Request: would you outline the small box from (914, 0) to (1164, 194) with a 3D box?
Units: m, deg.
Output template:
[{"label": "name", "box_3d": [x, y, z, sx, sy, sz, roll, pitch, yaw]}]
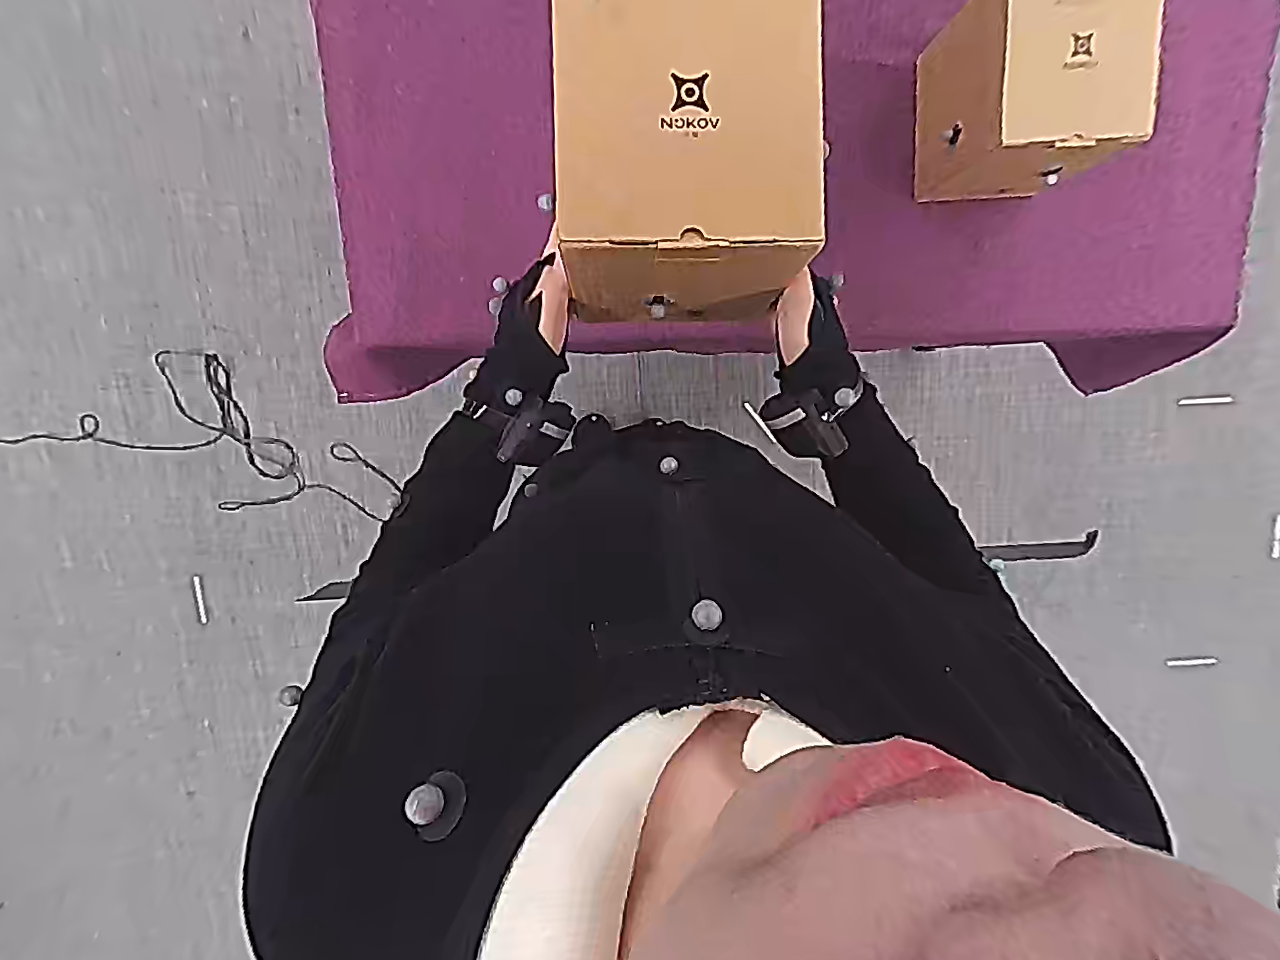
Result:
[{"label": "small box", "box_3d": [0.441, -0.448, 0.627, 0.168, 0.176, 0.179, -3, 99, -2]}]

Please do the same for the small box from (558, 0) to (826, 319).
[{"label": "small box", "box_3d": [0.027, -0.232, 0.407, 0.168, 0.176, 0.179, -2, 92, -3]}]
